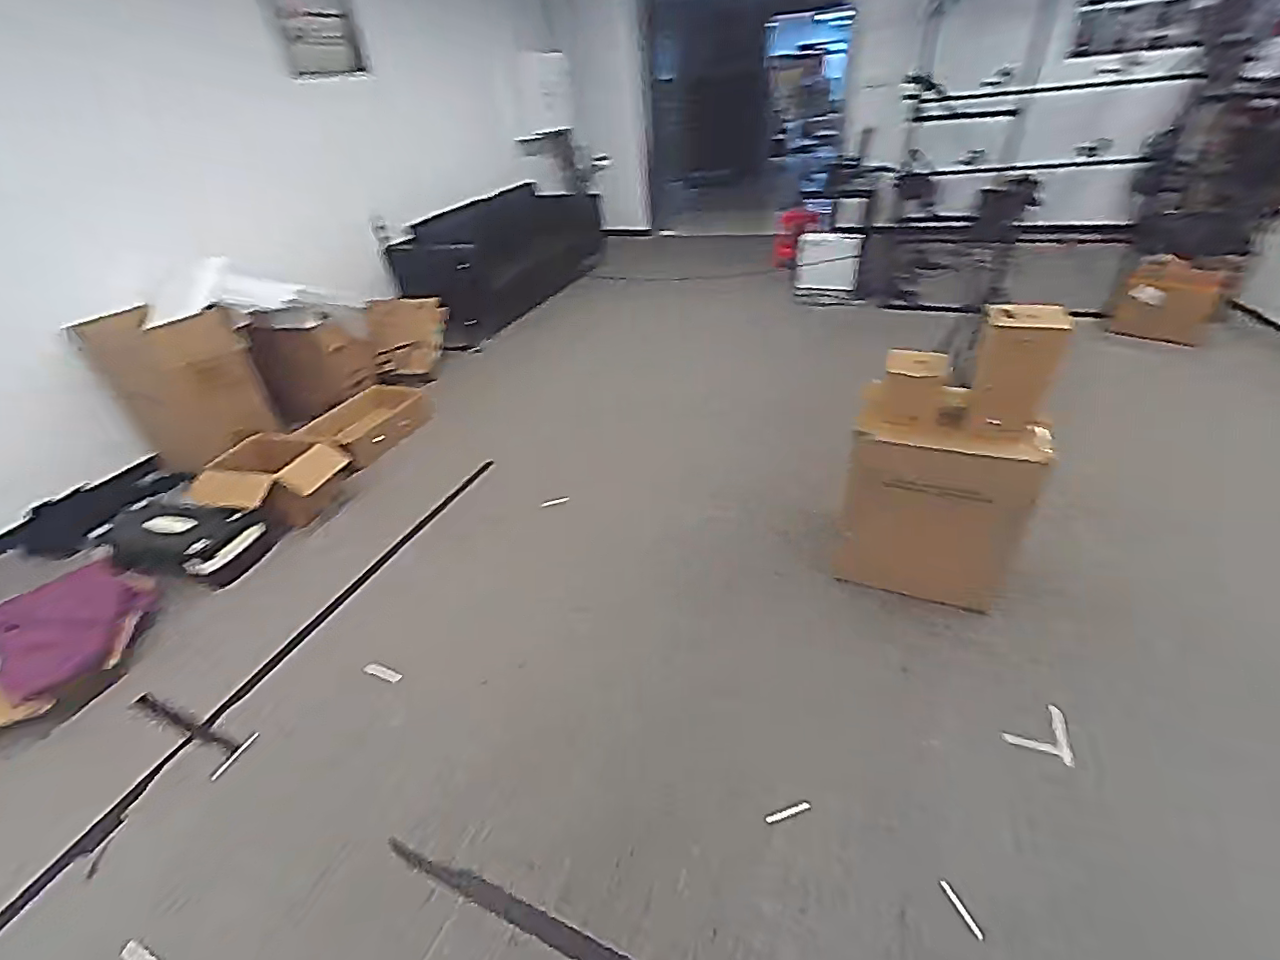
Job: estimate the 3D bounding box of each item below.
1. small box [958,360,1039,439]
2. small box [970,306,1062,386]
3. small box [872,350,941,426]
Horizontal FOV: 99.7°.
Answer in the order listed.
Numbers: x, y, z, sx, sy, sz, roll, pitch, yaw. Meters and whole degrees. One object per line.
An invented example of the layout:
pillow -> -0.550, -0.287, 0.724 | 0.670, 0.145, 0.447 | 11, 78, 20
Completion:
small box -> 1.053, -0.242, 1.604 | 0.168, 0.176, 0.179 | 8, 40, 23
small box -> 1.035, -0.374, 1.507 | 0.179, 0.176, 0.168 | 9, 39, 23
small box -> 0.835, -0.291, 1.703 | 0.168, 0.176, 0.179 | 10, 39, 20
